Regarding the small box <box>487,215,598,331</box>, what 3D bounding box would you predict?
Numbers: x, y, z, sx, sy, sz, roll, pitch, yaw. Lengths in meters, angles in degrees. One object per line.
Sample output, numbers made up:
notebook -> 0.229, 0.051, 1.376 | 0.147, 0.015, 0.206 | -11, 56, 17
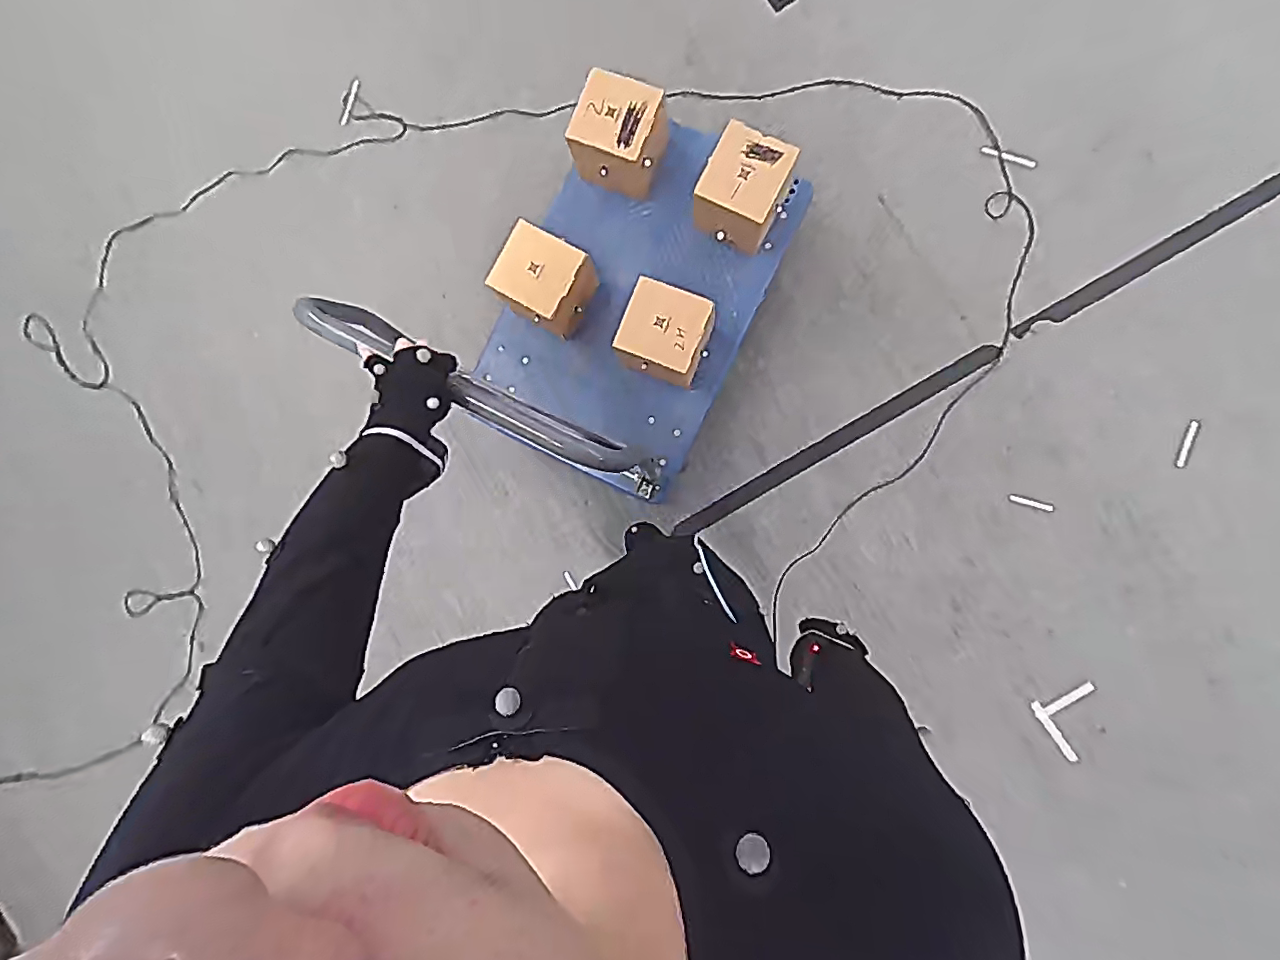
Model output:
small box -> -0.218, -0.470, 1.261 | 0.179, 0.176, 0.168 | 29, 92, 4

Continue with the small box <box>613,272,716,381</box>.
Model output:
small box -> 0.059, -0.338, 1.229 | 0.179, 0.176, 0.168 | 23, 92, 6

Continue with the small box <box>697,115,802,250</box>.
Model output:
small box -> 0.237, -0.656, 1.213 | 0.168, 0.176, 0.179 | 28, 94, 6
